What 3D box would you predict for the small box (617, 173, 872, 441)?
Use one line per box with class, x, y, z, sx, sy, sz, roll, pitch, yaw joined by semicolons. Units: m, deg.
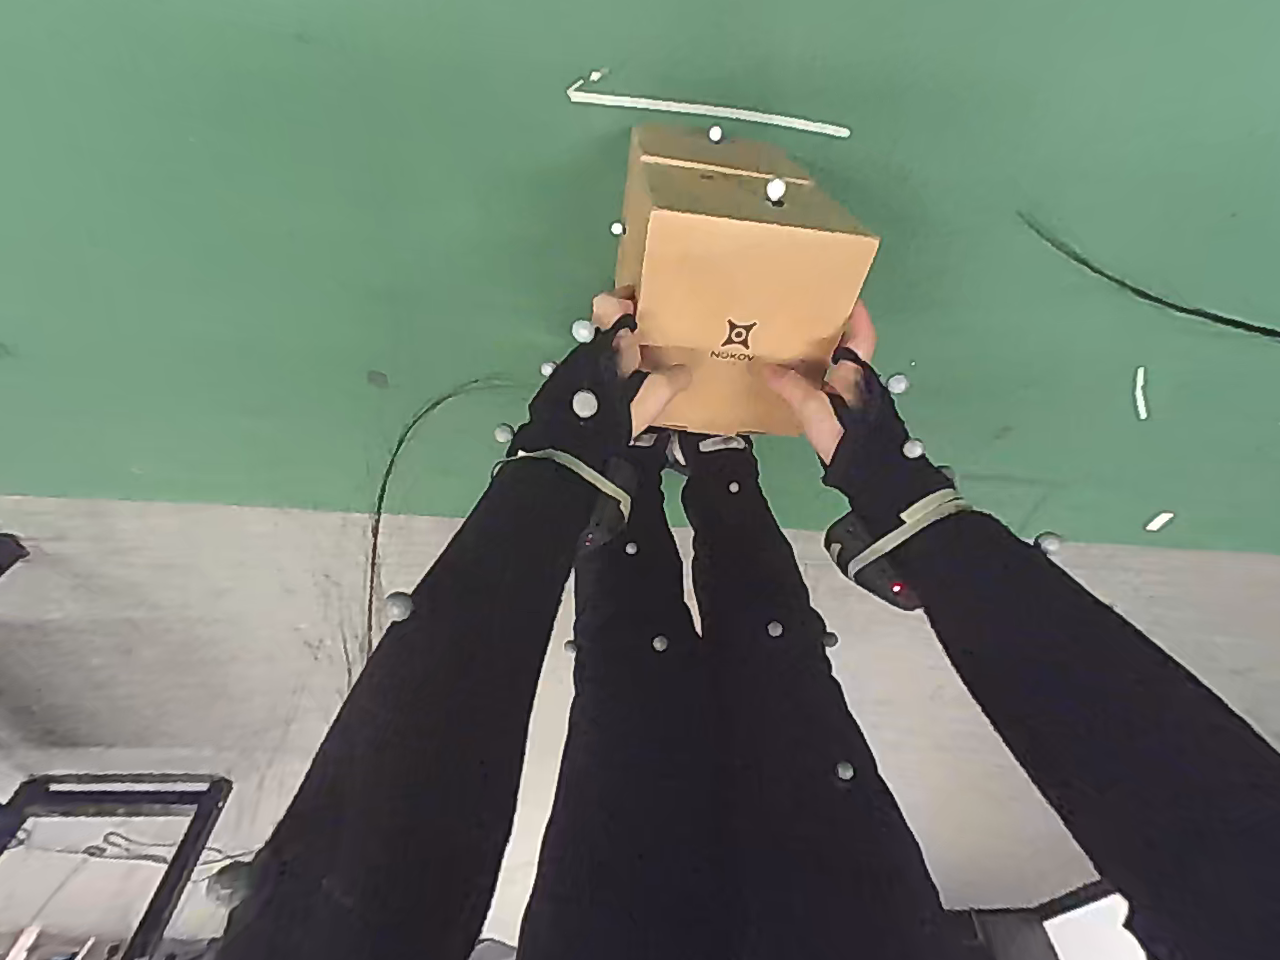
small box;0.069;-0.157;0.483;0.168;0.176;0.179;4;129;-6
